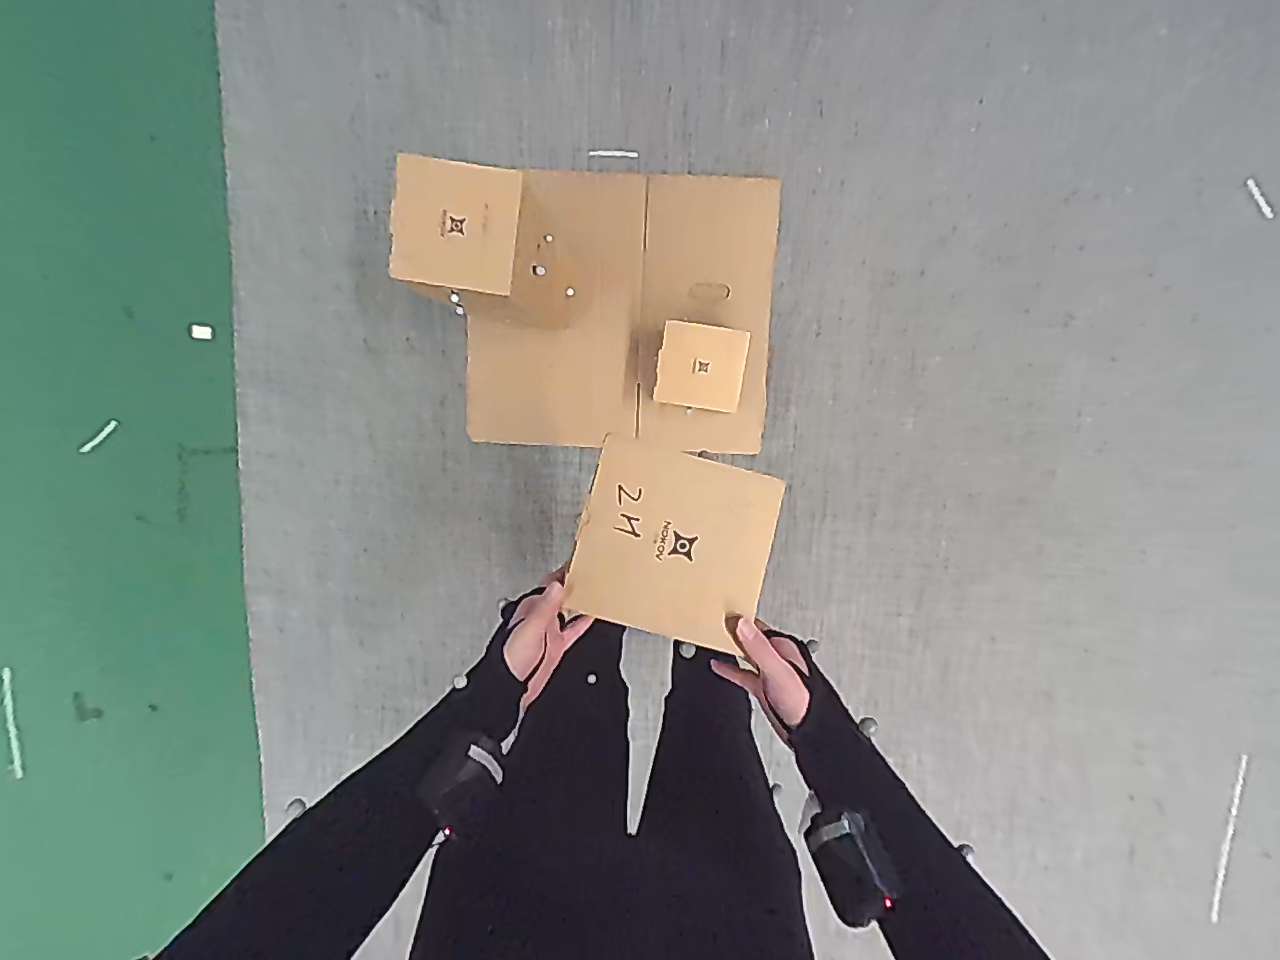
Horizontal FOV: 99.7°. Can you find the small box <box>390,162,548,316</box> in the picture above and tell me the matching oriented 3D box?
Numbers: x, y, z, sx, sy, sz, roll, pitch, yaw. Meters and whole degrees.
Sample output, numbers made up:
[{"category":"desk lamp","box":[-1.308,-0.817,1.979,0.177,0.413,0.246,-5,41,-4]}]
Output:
[{"category":"small box","box":[-0.252,-0.355,0.828,0.179,0.176,0.168,9,99,0]}]

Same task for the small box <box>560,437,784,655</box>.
[{"category":"small box","box":[0.030,0.069,0.577,0.179,0.176,0.168,16,81,1]}]

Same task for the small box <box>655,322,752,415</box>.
[{"category":"small box","box":[0.129,-0.236,1.164,0.179,0.176,0.168,8,98,2]}]

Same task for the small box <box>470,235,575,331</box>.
[{"category":"small box","box":[-0.243,-0.418,1.150,0.179,0.176,0.168,7,98,1]}]
